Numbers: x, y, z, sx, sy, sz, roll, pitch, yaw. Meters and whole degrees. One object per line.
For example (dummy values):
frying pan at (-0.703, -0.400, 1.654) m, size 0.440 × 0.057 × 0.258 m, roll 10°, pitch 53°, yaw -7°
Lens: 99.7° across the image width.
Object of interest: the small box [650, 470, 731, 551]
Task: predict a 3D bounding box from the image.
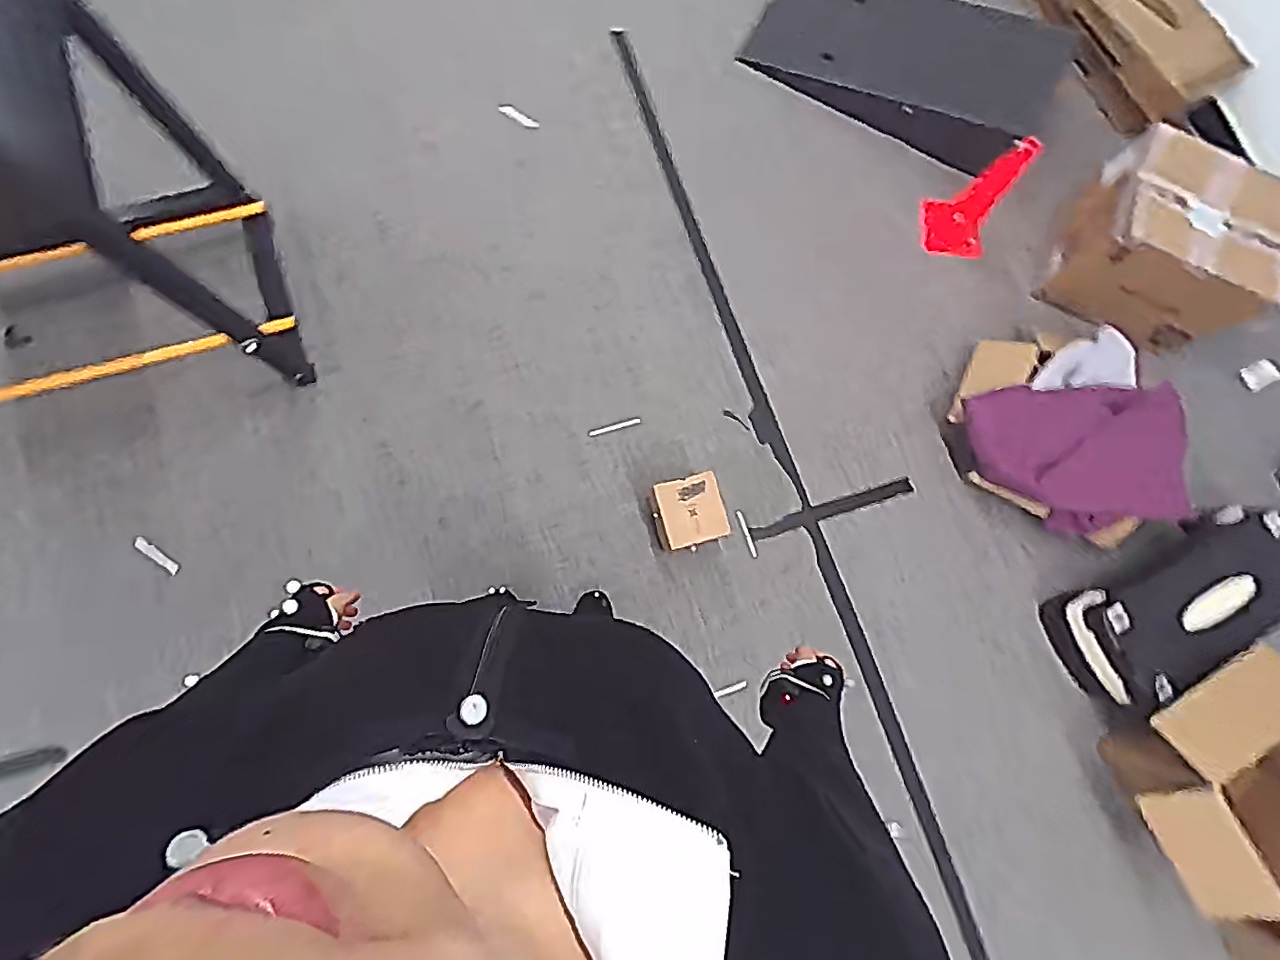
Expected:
small box at (0.129, 0.089, 1.477) m, size 0.168 × 0.176 × 0.179 m, roll -14°, pitch 82°, yaw -7°
